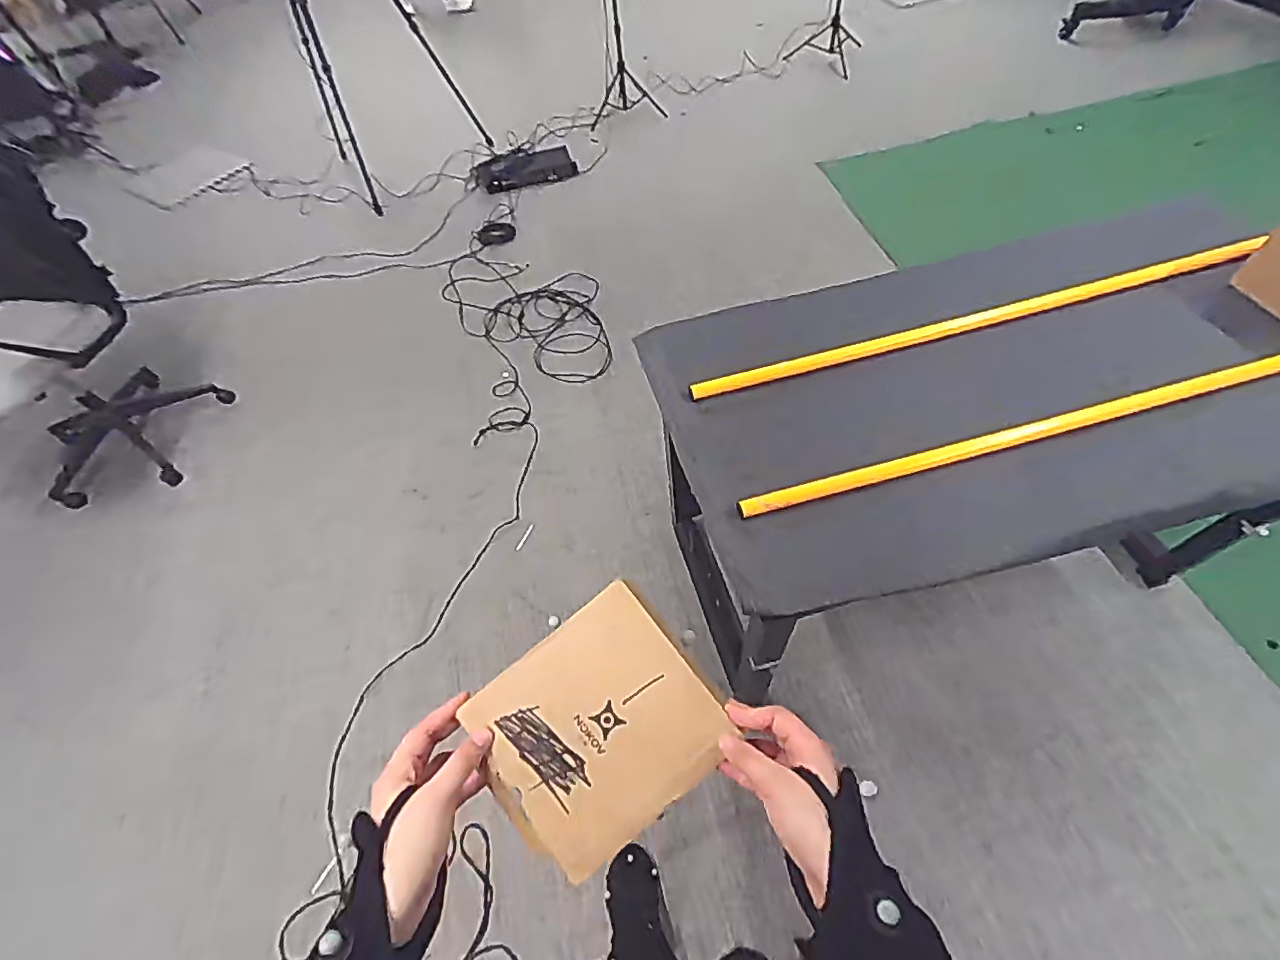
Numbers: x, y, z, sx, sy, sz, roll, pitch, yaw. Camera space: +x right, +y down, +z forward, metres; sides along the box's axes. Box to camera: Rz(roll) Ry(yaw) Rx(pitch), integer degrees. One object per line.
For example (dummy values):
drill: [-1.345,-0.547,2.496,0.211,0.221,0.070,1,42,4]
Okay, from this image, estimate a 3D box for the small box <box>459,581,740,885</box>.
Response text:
small box: [-0.031,0.215,0.514,0.179,0.176,0.168,-39,81,-6]
